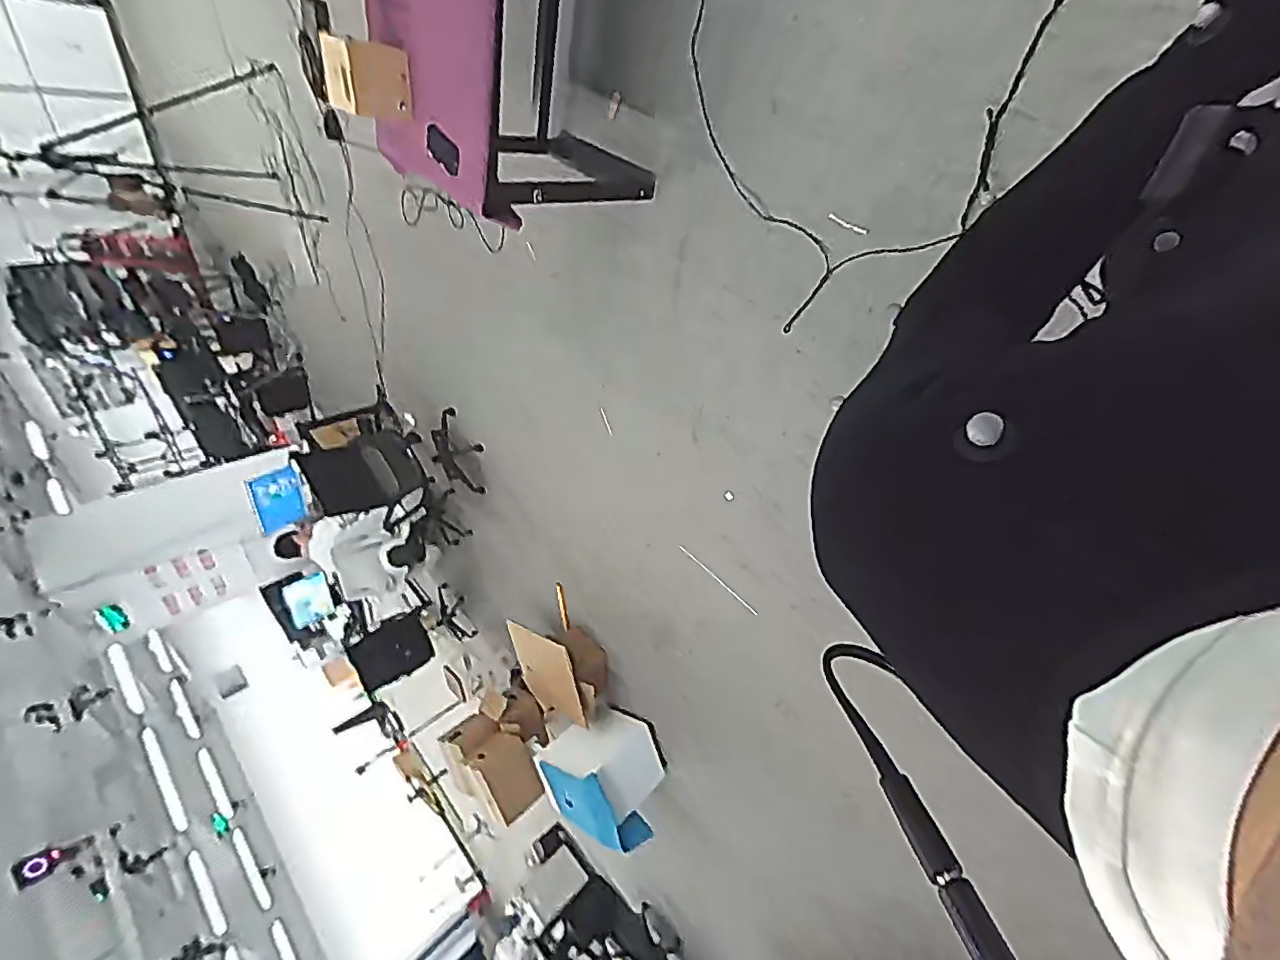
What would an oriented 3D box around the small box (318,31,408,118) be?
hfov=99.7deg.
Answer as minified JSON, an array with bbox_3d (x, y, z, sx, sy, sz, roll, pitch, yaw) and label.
[{"bbox_3d":[-0.770,-1.138,1.525,0.179,0.176,0.168,38,134,29],"label":"small box"}]
